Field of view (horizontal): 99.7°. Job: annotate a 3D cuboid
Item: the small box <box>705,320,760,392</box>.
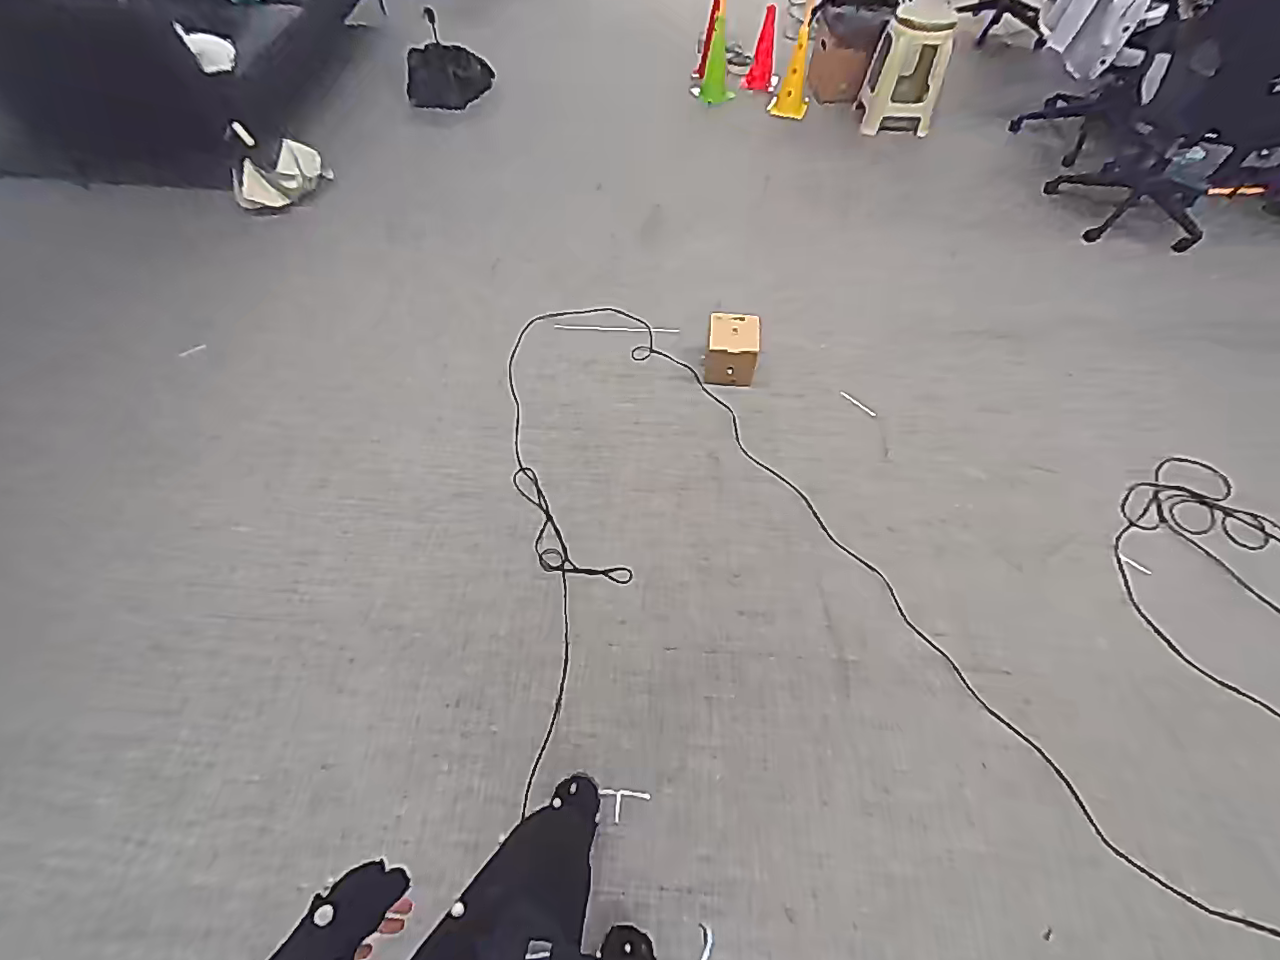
[{"bbox_3d":[0.318,-0.425,1.869,0.168,0.176,0.179,6,59,4],"label":"small box"}]
